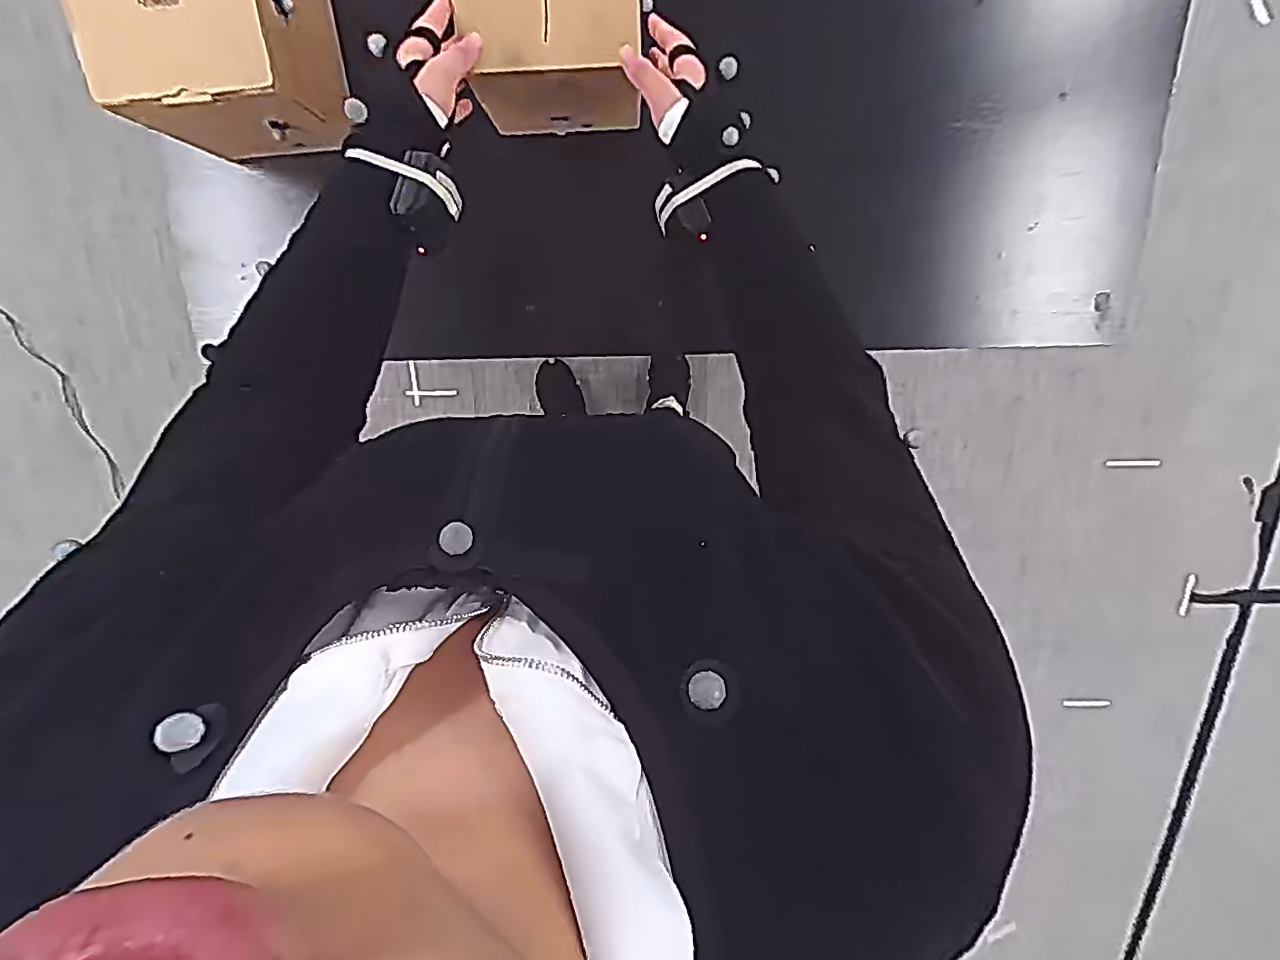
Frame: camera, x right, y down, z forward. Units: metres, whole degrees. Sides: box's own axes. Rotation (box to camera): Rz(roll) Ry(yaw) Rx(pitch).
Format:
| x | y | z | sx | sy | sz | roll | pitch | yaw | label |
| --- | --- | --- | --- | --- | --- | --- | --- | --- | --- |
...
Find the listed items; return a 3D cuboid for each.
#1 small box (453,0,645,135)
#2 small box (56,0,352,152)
| x | y | z | sx | sy | sz | roll | pitch | yaw | label |
| --- | --- | --- | --- | --- | --- | --- | --- | --- | --- |
| -0.082 | -0.467 | 0.532 | 0.168 | 0.176 | 0.179 | -2 | 107 | -1 | small box |
| -0.414 | -0.443 | 0.531 | 0.168 | 0.176 | 0.179 | -6 | 105 | -1 | small box |
